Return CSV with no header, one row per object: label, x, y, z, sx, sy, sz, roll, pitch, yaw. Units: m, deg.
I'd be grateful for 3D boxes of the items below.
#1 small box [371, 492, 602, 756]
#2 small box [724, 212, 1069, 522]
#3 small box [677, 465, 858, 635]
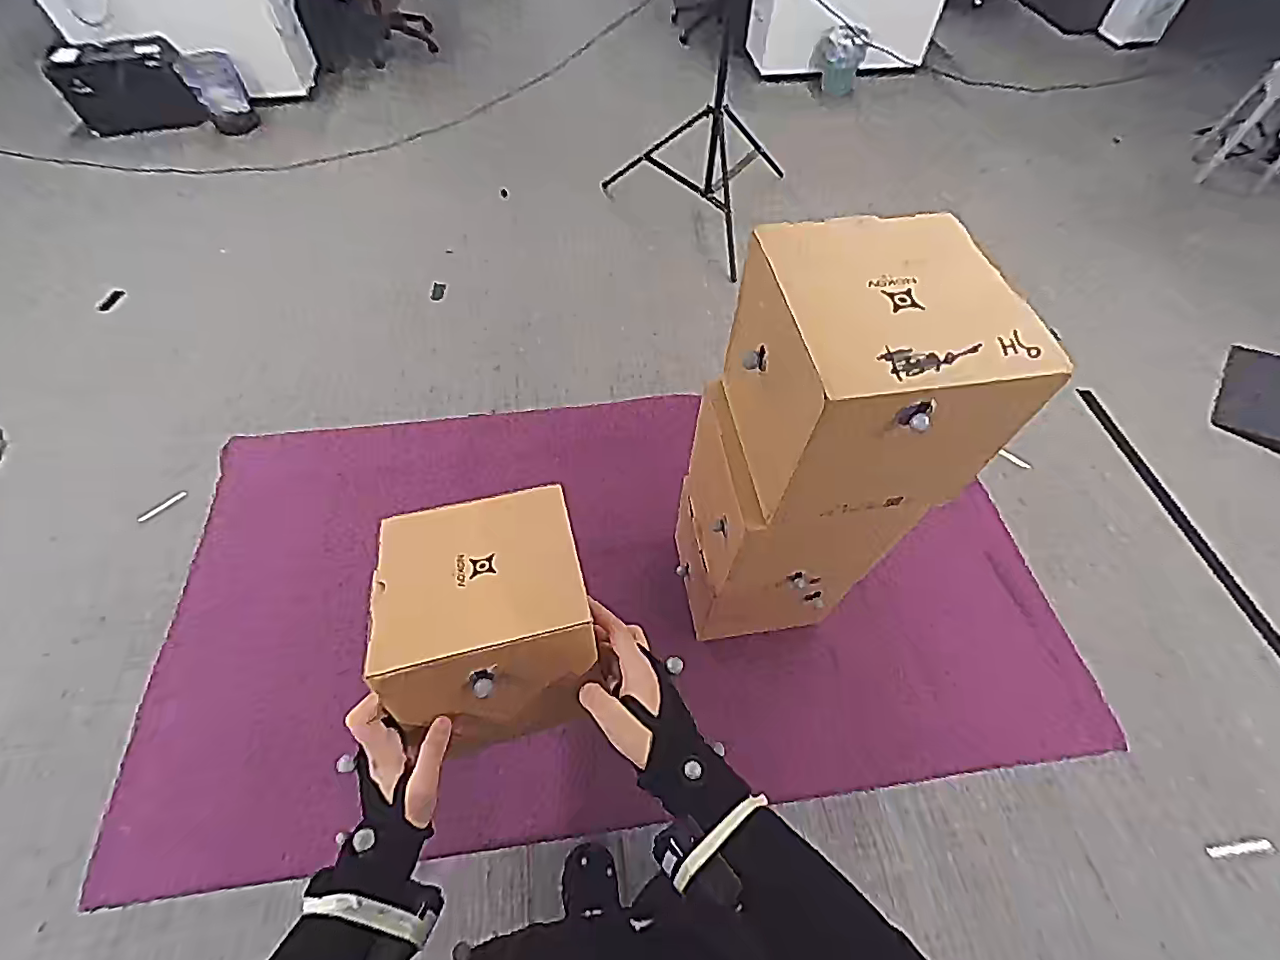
small box,-0.137,0.140,0.533,0.179,0.176,0.168,-12,42,-9
small box,0.174,-0.088,0.441,0.168,0.176,0.179,-8,58,-5
small box,0.151,0.092,0.715,0.179,0.176,0.168,-8,57,-5
